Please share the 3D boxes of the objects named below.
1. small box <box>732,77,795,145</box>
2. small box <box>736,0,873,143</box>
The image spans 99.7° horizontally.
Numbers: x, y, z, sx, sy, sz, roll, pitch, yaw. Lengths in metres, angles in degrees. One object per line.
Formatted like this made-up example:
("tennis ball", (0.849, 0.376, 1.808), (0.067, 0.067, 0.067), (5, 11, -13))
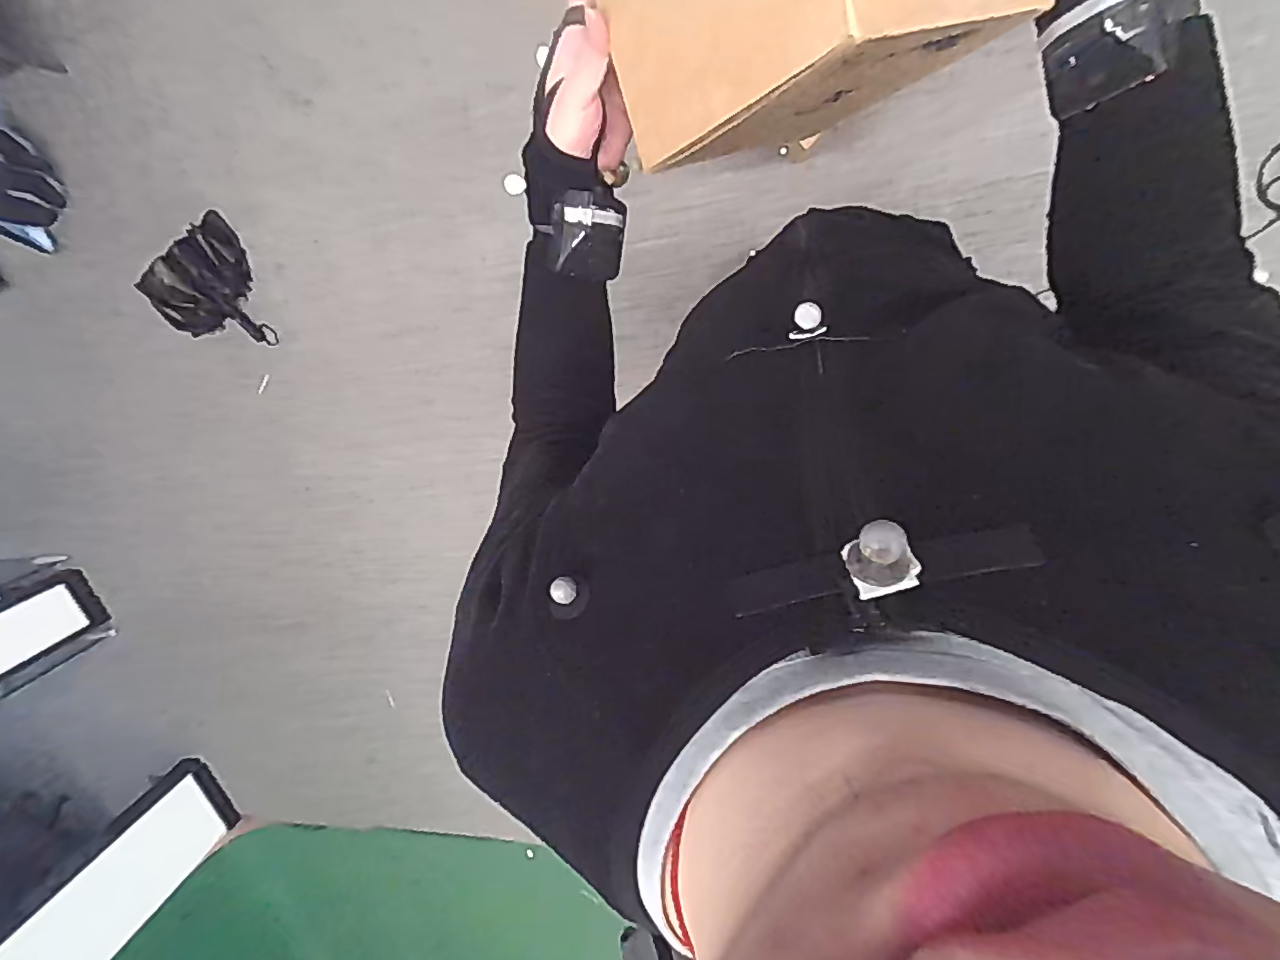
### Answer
("small box", (0.318, -0.853, 1.155), (0.168, 0.176, 0.179), (34, 117, -5))
("small box", (0.298, -0.772, 1.013), (0.168, 0.176, 0.179), (41, 118, -8))
